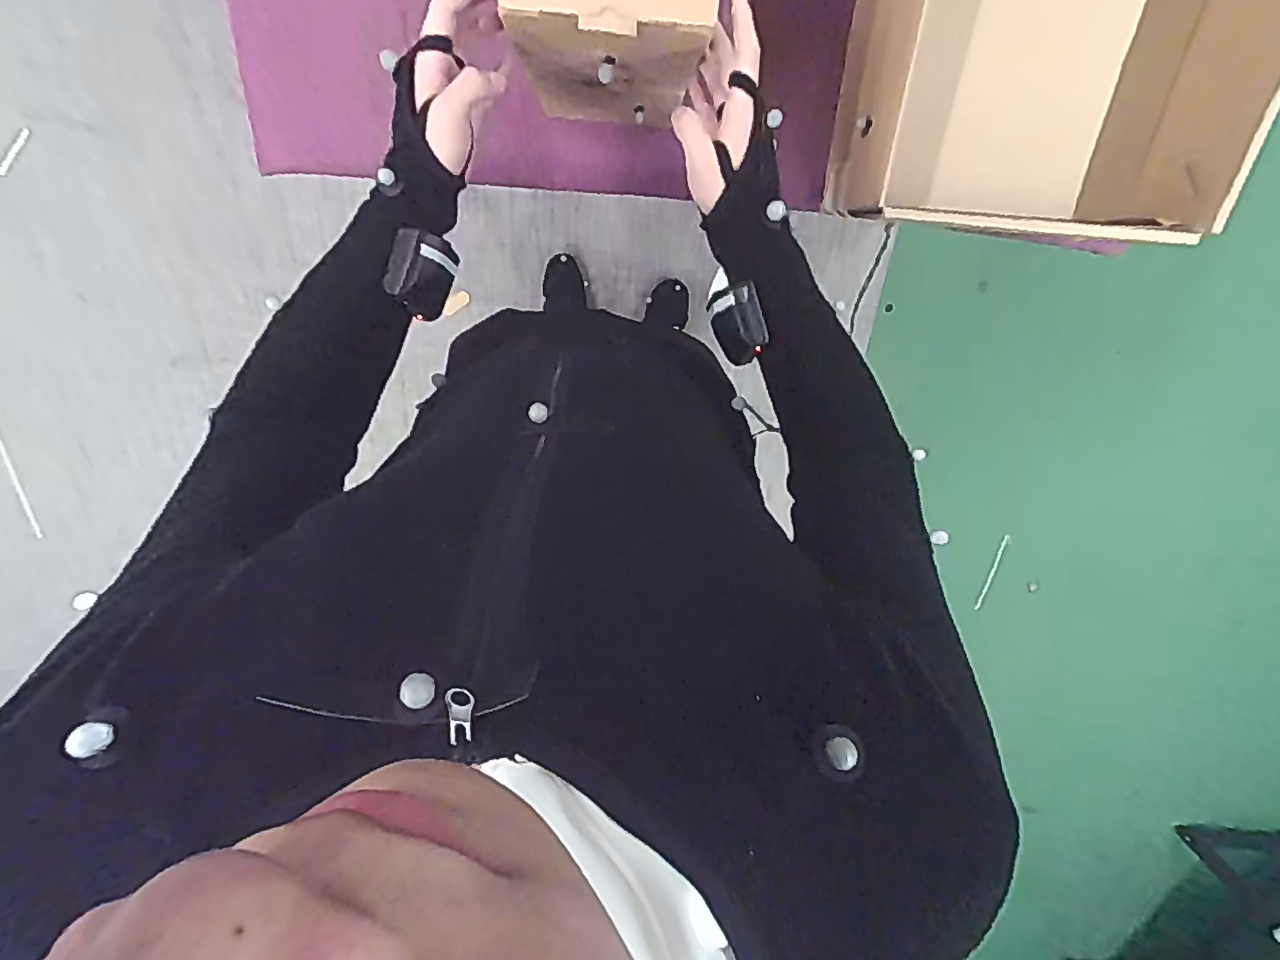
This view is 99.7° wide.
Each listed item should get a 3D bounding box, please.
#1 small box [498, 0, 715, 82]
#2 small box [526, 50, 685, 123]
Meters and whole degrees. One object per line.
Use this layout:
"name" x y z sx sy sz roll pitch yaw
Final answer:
"small box" -0.021 -0.455 0.446 0.168 0.176 0.179 2 114 -4
"small box" -0.030 -0.516 0.596 0.168 0.176 0.179 3 112 -4
